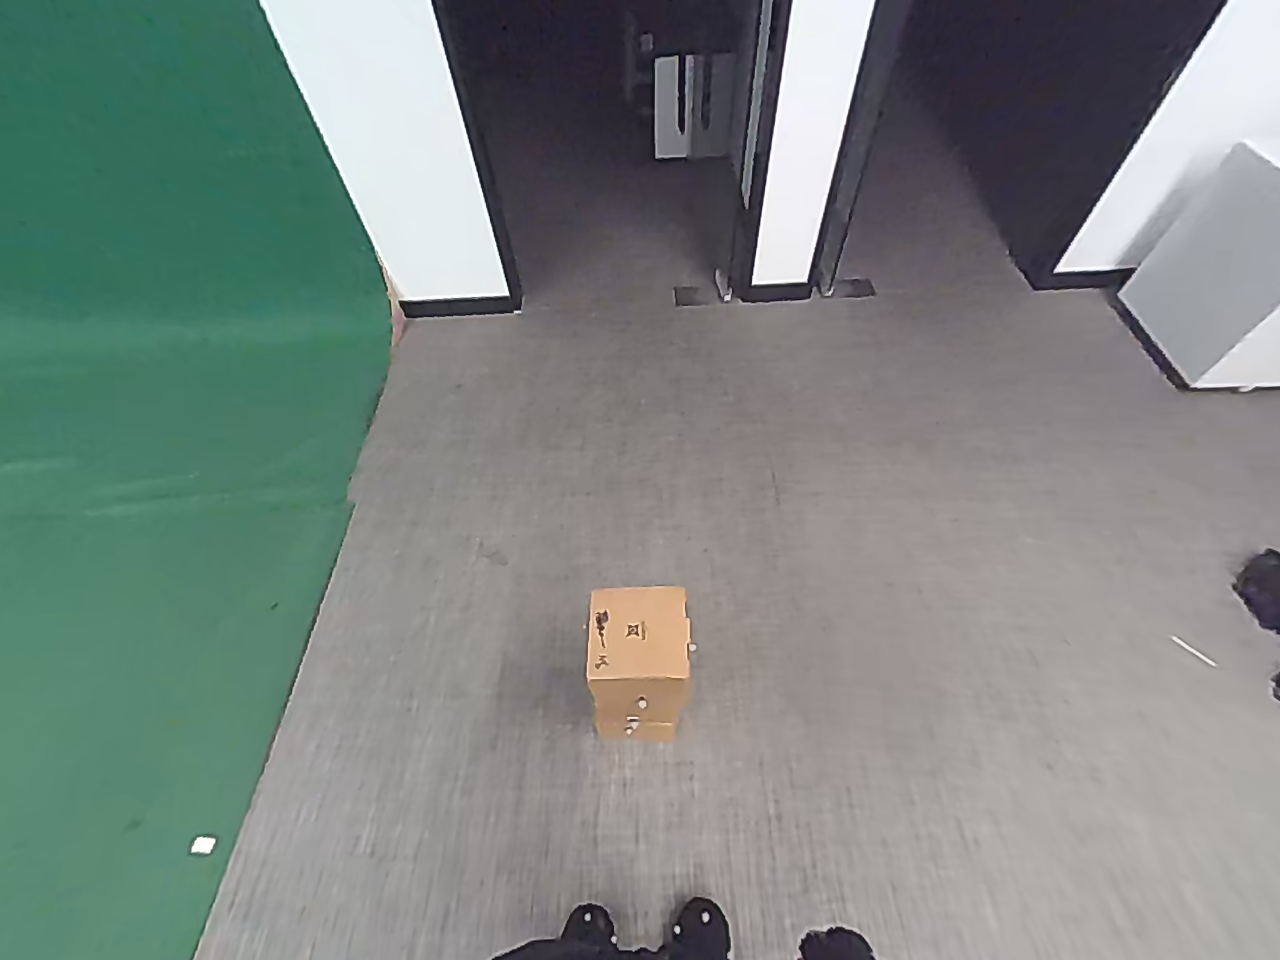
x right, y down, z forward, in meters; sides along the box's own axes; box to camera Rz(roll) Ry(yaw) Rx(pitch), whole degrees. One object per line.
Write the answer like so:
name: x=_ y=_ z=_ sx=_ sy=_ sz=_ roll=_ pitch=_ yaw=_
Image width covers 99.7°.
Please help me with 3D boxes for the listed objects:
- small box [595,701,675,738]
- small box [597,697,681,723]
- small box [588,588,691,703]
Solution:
small box: x=-0.004 y=0.506 z=1.281 sx=0.179 sy=0.176 sz=0.168 roll=1 pitch=54 yaw=3
small box: x=0.002 y=0.407 z=1.153 sx=0.168 sy=0.176 sz=0.179 roll=-2 pitch=55 yaw=3
small box: x=0.002 y=0.314 z=1.018 sx=0.179 sy=0.176 sz=0.168 roll=-1 pitch=54 yaw=3
